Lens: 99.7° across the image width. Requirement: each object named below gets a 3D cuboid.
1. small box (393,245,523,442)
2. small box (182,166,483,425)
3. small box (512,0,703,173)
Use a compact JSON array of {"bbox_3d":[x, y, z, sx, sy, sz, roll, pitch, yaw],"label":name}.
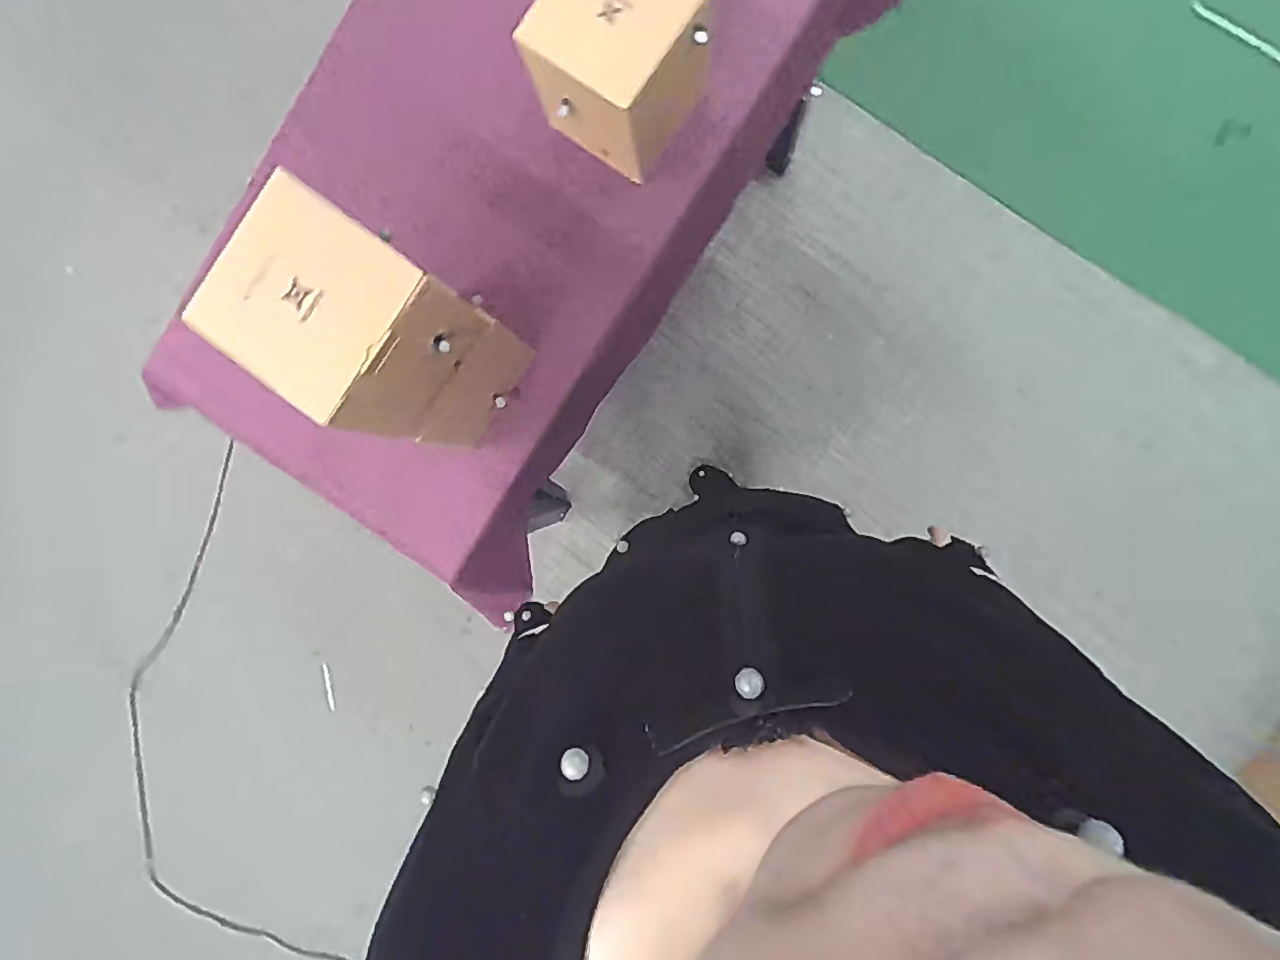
[{"bbox_3d":[-0.278,-0.168,0.727,0.168,0.176,0.179,35,93,5],"label":"small box"},{"bbox_3d":[-0.297,-0.170,0.564,0.179,0.176,0.168,37,94,5],"label":"small box"},{"bbox_3d":[-0.028,-0.545,0.695,0.168,0.176,0.179,36,94,4],"label":"small box"}]
